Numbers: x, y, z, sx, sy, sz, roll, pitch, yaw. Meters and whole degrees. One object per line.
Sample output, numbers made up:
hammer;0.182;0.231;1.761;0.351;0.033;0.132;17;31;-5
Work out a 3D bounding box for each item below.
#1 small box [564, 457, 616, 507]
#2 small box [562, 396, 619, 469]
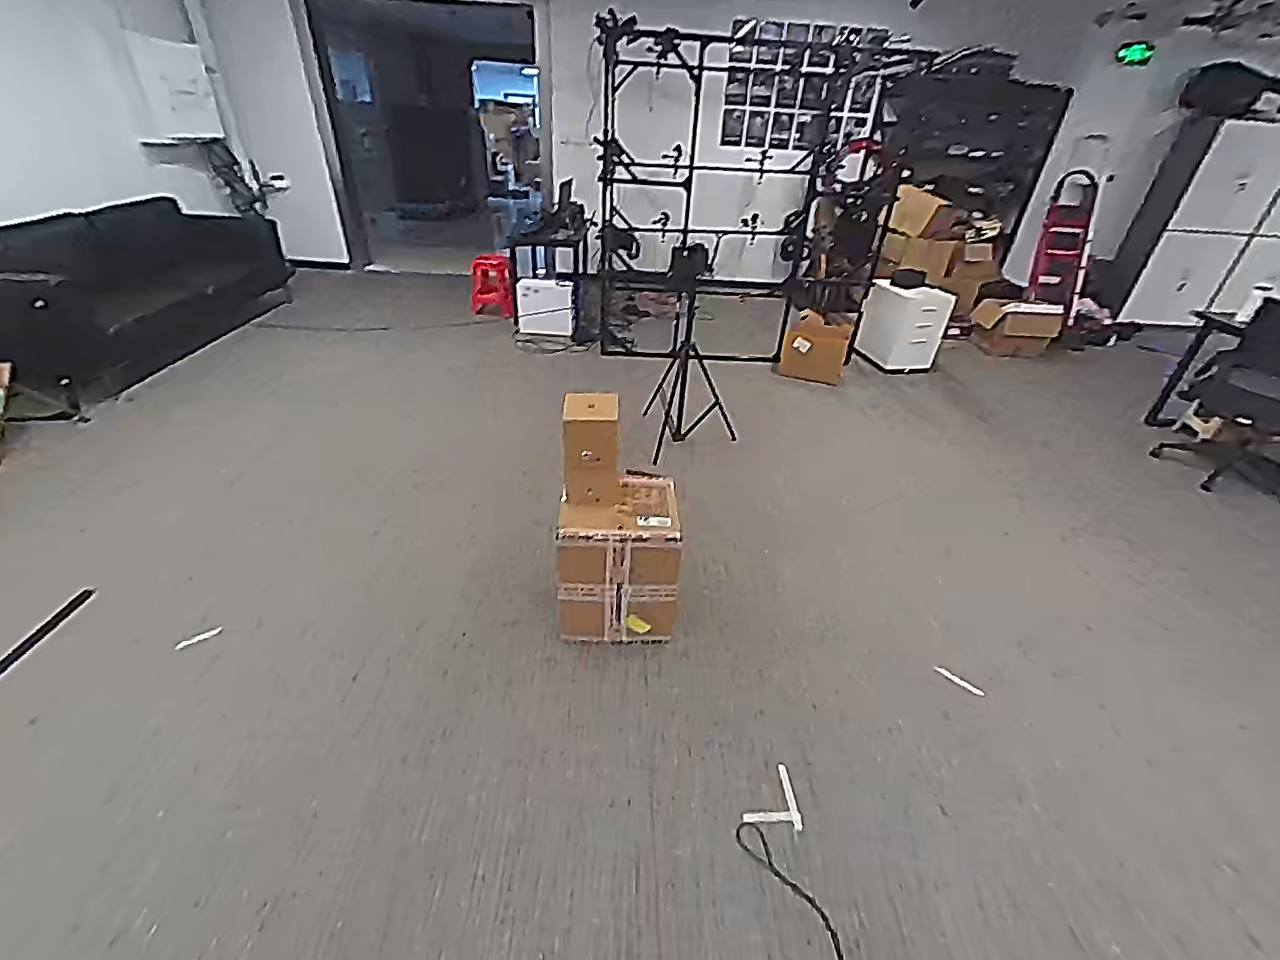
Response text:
small box;-0.163;-0.030;1.803;0.168;0.176;0.179;0;36;-3
small box;-0.152;-0.151;1.692;0.168;0.176;0.179;-1;36;-2
